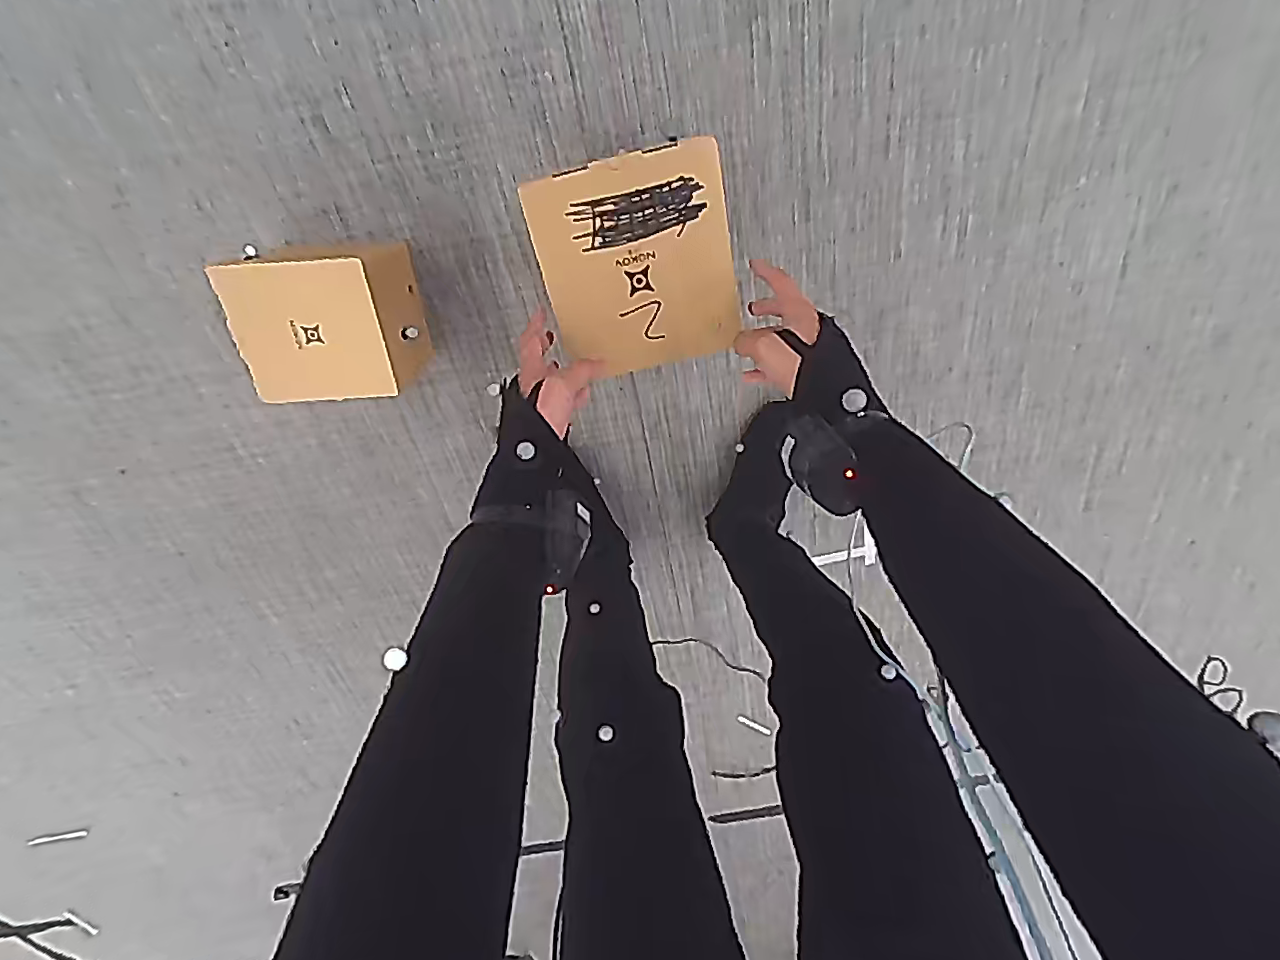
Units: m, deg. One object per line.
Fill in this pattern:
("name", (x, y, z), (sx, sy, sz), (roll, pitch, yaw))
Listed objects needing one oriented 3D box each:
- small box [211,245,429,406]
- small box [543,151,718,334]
("small box", (-0.394, -0.209, 0.712), (0.179, 0.176, 0.168), (-4, 120, -1))
("small box", (-0.010, -0.301, 0.684), (0.179, 0.176, 0.168), (-12, 120, 2))
